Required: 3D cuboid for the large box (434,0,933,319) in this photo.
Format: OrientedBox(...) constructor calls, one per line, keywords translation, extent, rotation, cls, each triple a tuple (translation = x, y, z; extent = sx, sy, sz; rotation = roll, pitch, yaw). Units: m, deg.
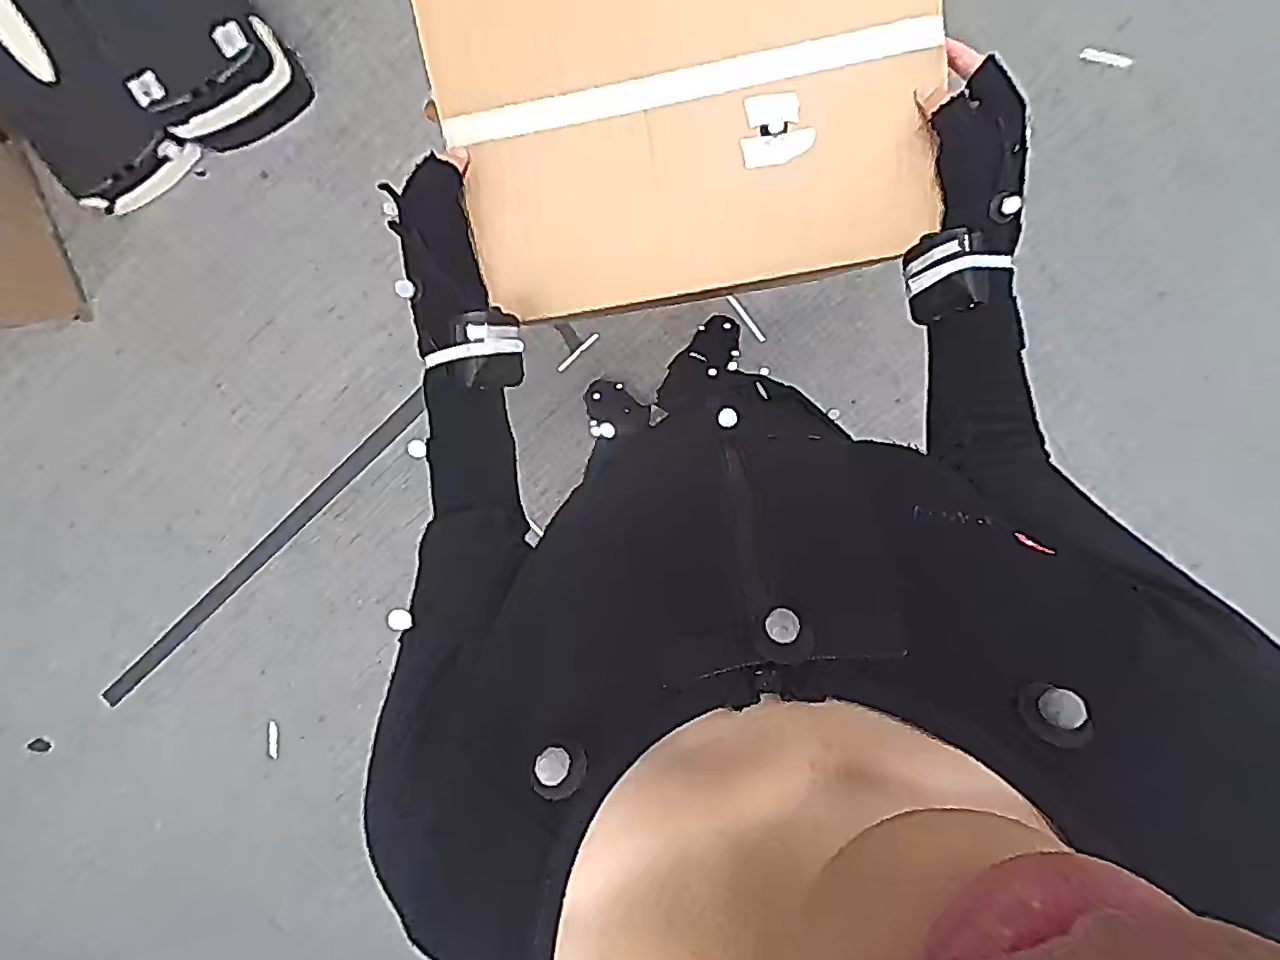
OrientedBox(translation=(0.044, -0.370, 0.599), extent=(0.408, 0.320, 0.320), rotation=(-8, 107, 3), cls="large box")
